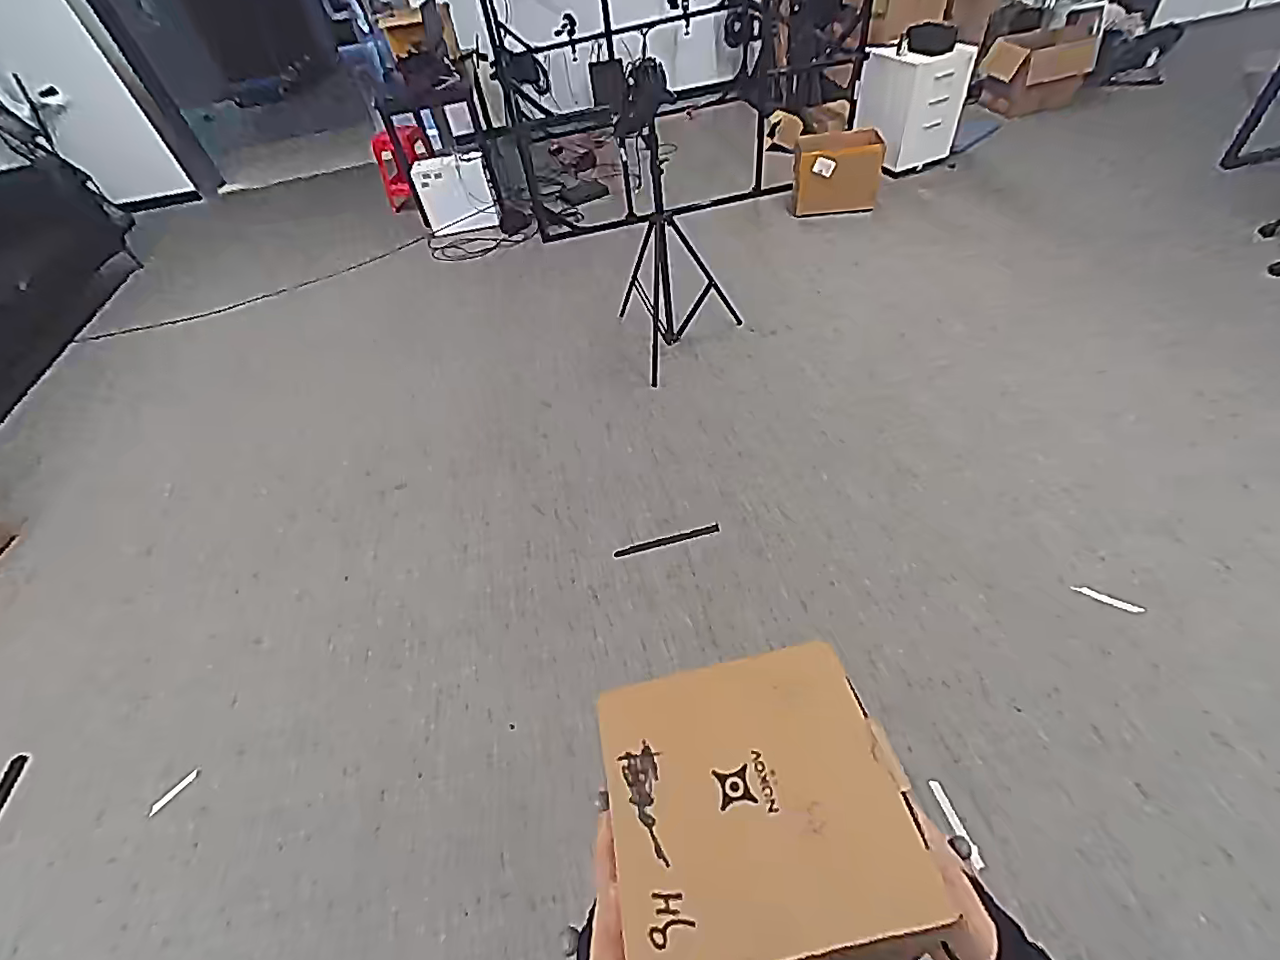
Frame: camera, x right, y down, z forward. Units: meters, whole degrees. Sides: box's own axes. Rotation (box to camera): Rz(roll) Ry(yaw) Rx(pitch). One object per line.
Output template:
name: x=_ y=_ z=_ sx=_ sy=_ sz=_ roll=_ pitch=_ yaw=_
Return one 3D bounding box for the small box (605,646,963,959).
small box: x=0.080 y=0.248 z=0.384 sx=0.179 sy=0.176 sz=0.168 roll=-12 pitch=41 yaw=-2
